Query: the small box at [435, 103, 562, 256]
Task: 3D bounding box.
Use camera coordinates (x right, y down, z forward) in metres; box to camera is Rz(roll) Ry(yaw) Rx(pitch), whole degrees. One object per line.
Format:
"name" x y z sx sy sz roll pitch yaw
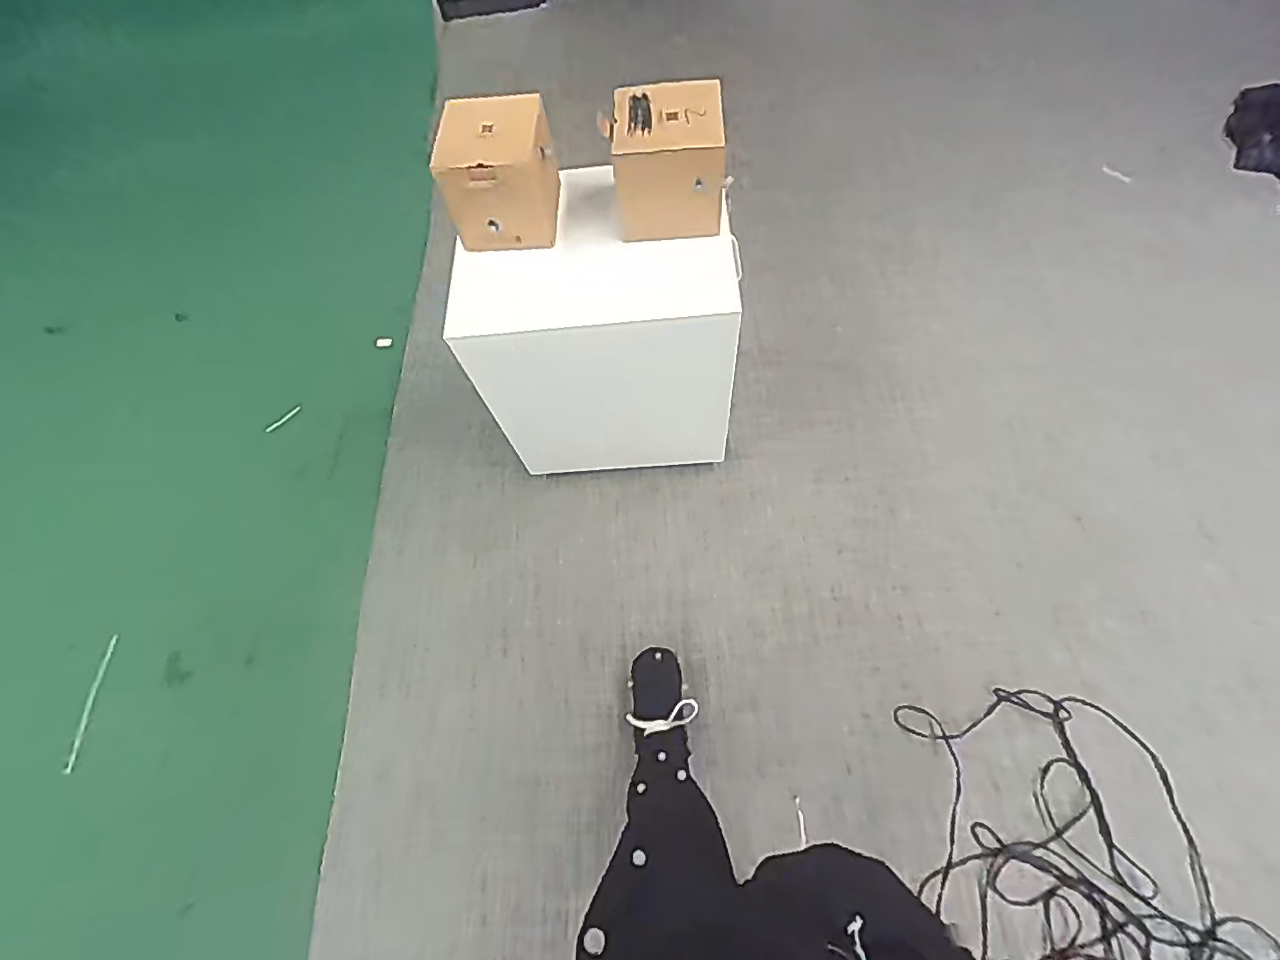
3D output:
"small box" -0.237 -0.524 0.956 0.168 0.176 0.179 -1 66 4
